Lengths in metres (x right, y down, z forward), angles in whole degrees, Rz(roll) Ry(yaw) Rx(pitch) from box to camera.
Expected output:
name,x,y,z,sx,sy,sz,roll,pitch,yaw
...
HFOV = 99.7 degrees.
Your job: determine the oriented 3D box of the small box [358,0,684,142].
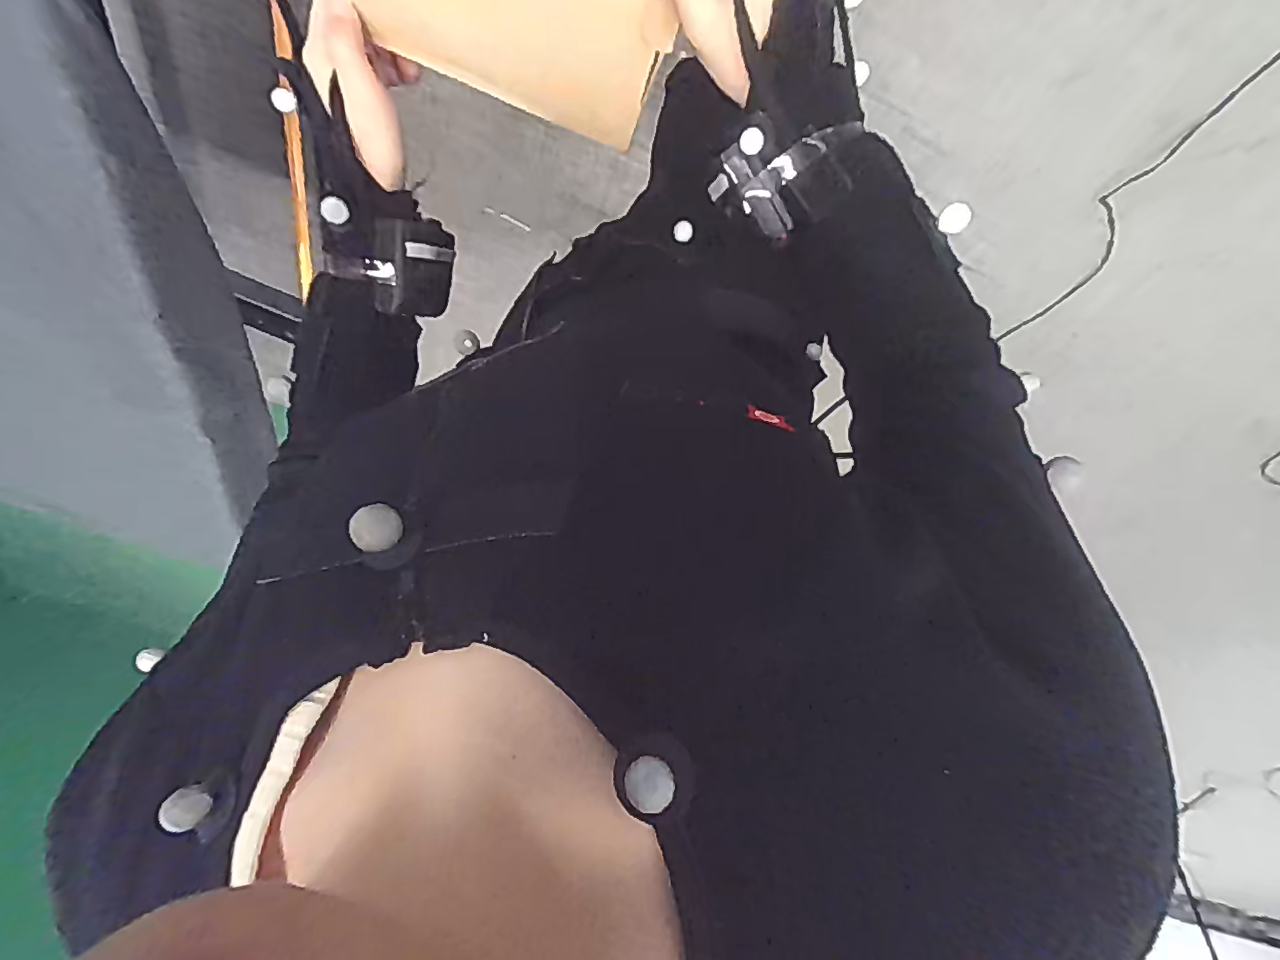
name,x,y,z,sx,sy,sz,roll,pitch,yaw
small box,-0.046,-0.348,0.316,0.179,0.176,0.168,18,143,-11
